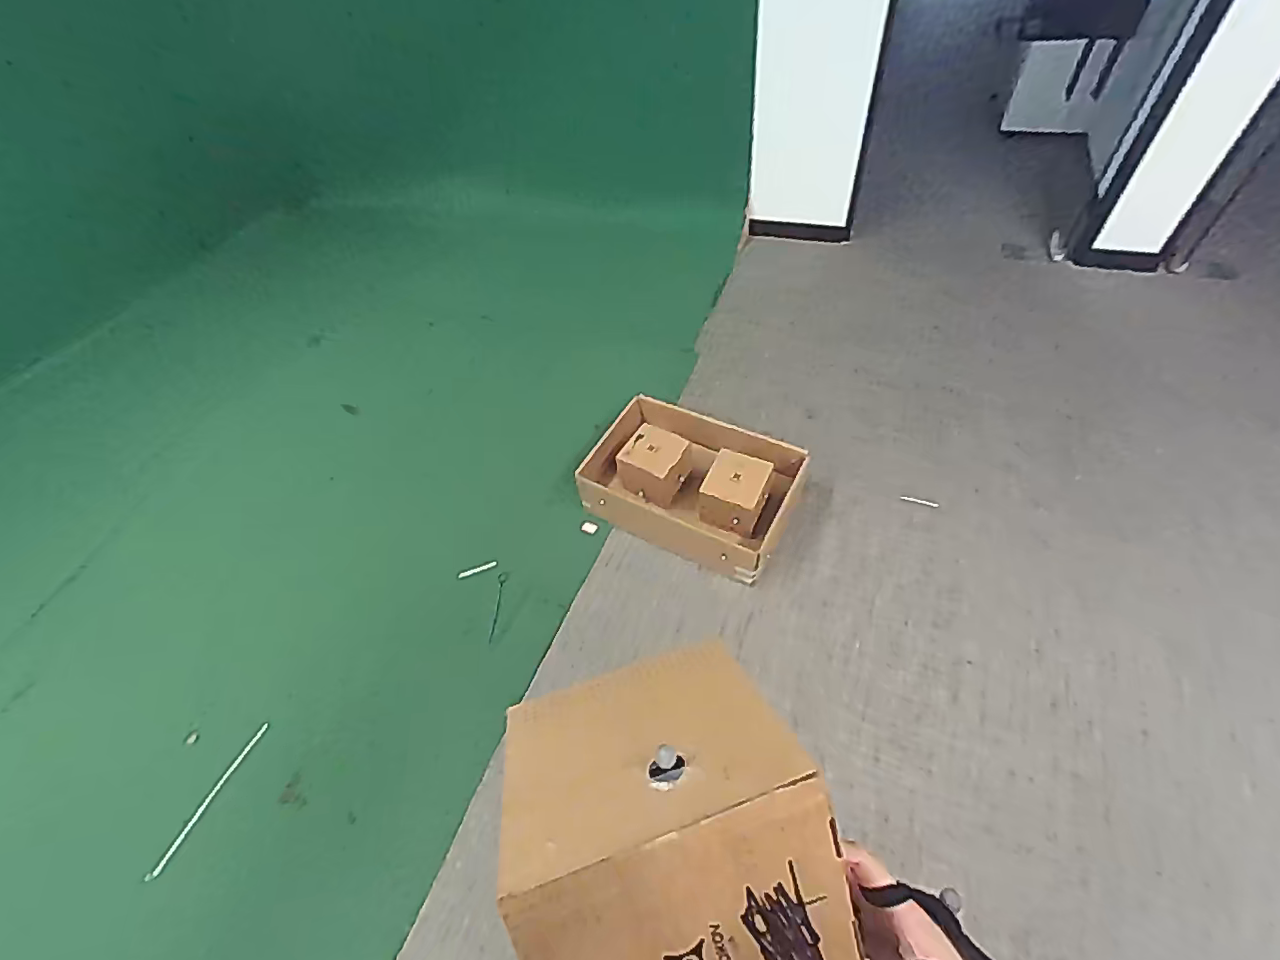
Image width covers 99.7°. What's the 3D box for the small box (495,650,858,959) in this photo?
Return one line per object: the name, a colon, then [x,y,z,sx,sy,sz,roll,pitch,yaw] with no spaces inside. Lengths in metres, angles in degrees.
small box: [0.015,0.241,0.361,0.179,0.168,0.176,-17,11,-8]
